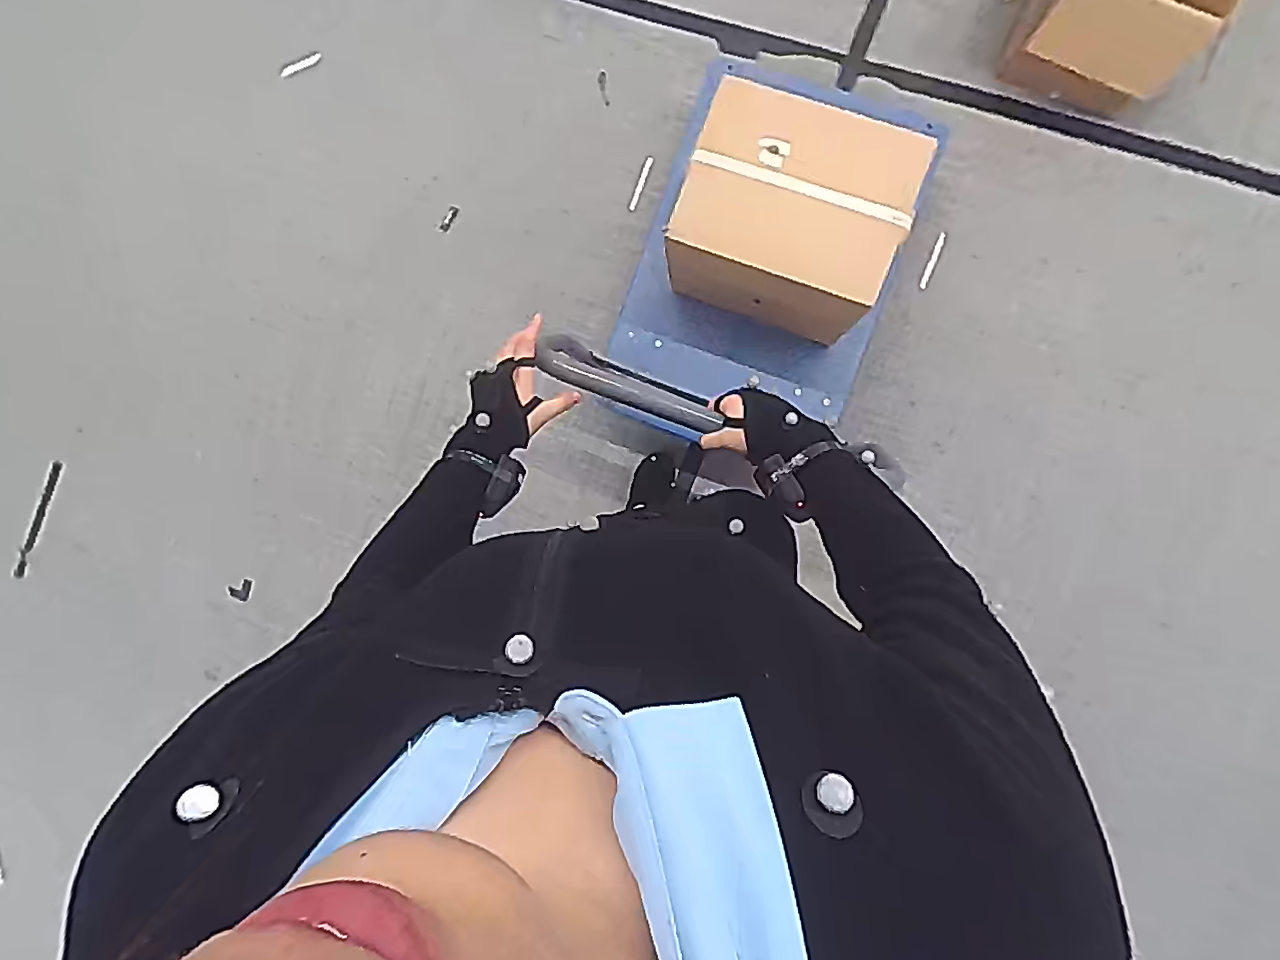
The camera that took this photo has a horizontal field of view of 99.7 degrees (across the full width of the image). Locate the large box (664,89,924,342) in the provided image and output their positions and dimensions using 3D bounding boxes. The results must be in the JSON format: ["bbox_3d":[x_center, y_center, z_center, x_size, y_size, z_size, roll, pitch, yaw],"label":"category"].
[{"bbox_3d":[0.299,-0.530,1.150,0.408,0.320,0.320,21,92,6],"label":"large box"}]
